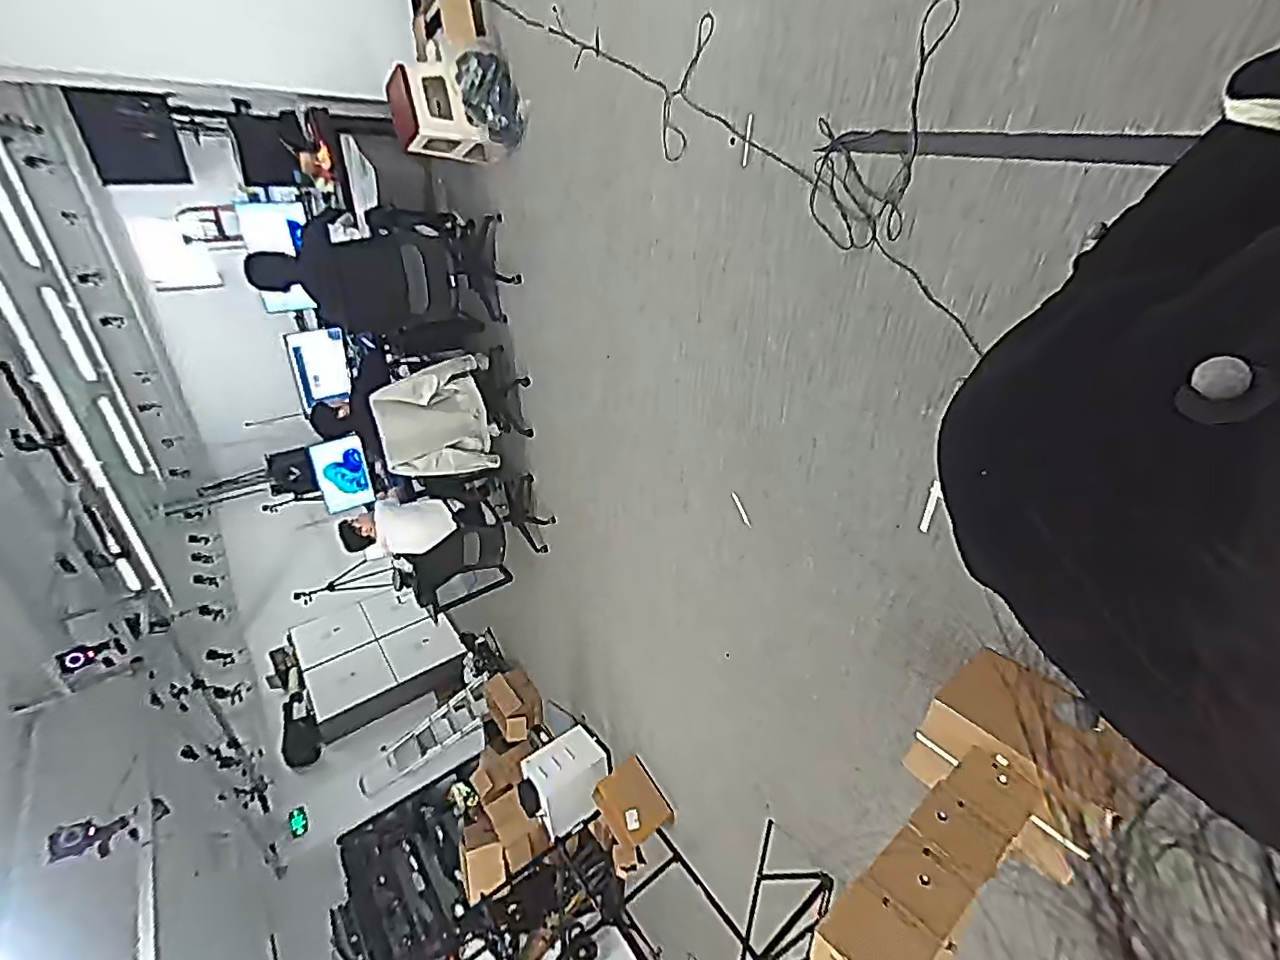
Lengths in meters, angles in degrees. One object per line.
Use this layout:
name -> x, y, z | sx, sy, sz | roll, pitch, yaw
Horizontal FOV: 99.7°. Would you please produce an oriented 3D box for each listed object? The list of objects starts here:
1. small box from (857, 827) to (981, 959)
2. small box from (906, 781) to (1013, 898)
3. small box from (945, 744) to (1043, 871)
small box -> 0.591, 0.892, 1.147 | 0.168, 0.176, 0.179 | 27, 128, 48
small box -> 0.718, 0.839, 1.238 | 0.168, 0.176, 0.179 | 31, 132, 45
small box -> 0.848, 0.798, 1.326 | 0.168, 0.176, 0.179 | 31, 130, 43
